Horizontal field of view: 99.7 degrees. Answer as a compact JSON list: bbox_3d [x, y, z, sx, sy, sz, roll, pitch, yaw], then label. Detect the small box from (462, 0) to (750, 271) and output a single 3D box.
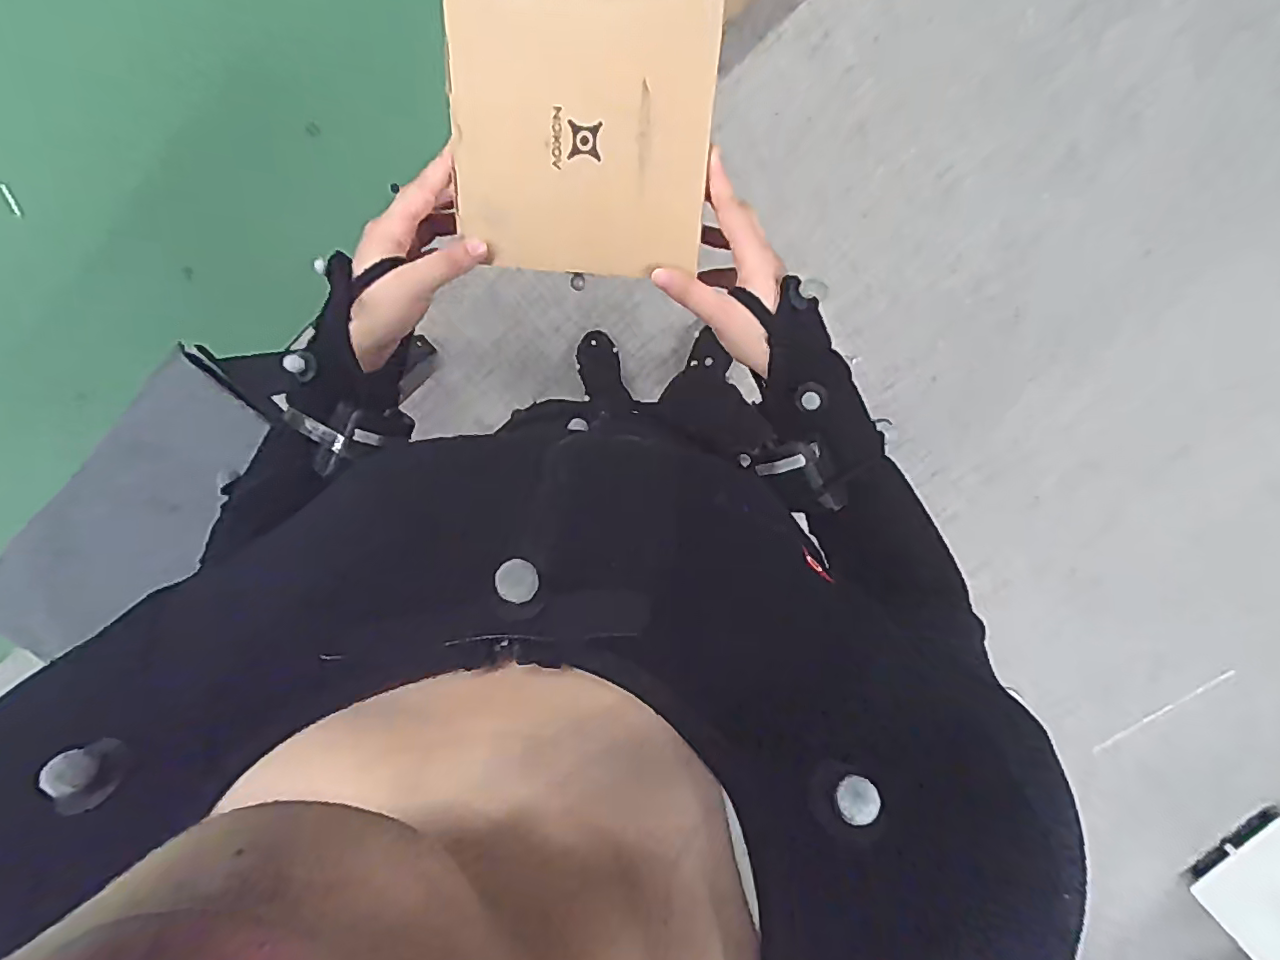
[{"bbox_3d":[-0.023,-0.258,0.422,0.179,0.176,0.168,4,114,0],"label":"small box"}]
